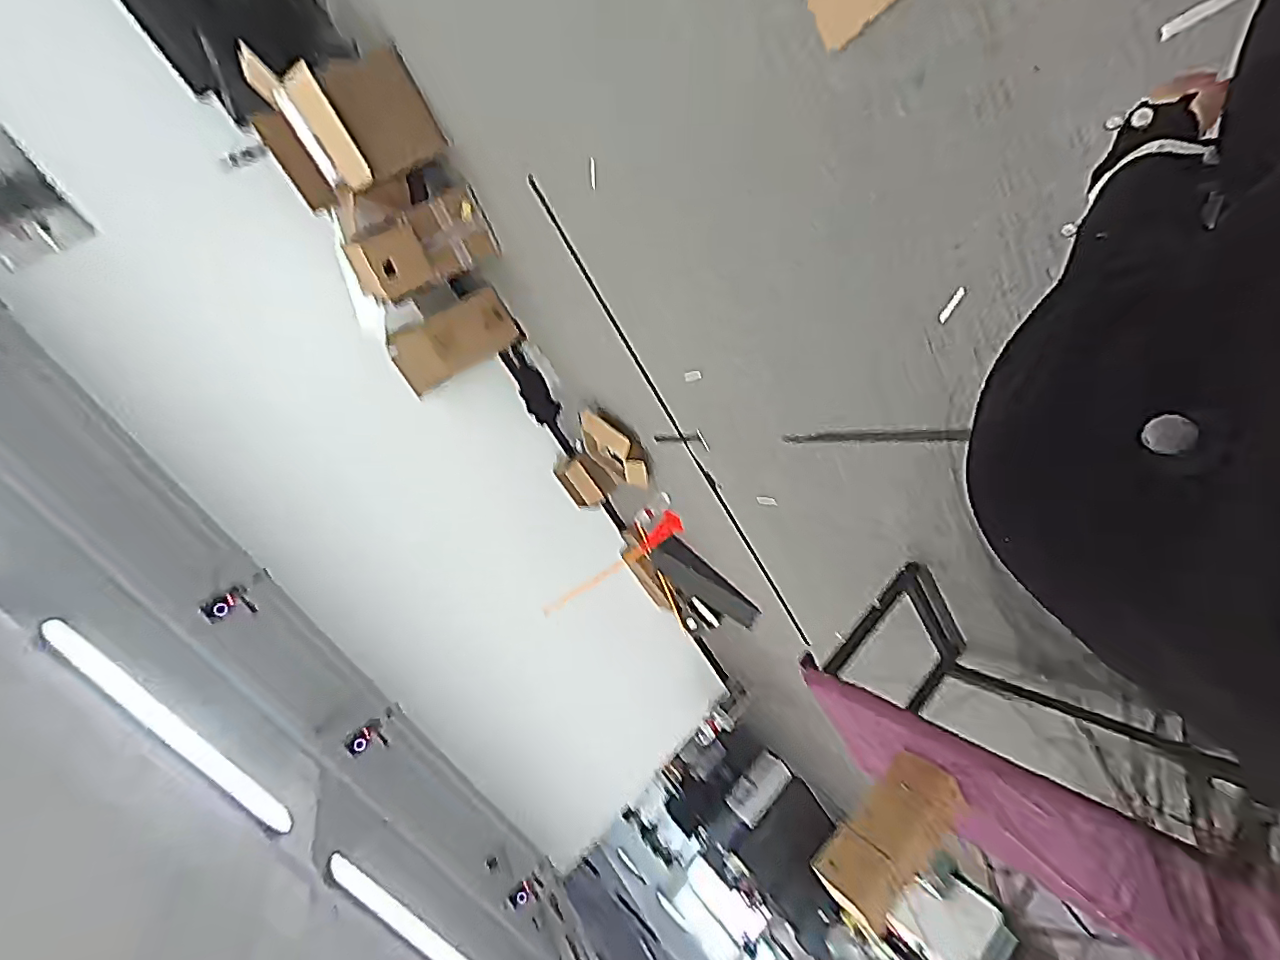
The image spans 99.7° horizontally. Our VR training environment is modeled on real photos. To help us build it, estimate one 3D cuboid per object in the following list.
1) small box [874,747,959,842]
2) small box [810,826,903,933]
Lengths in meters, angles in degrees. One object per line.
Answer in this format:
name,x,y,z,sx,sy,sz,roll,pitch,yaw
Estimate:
small box,0.909,1.016,1.764,0.168,0.176,0.179,59,159,-20
small box,0.665,1.209,1.657,0.168,0.176,0.179,58,158,-20
